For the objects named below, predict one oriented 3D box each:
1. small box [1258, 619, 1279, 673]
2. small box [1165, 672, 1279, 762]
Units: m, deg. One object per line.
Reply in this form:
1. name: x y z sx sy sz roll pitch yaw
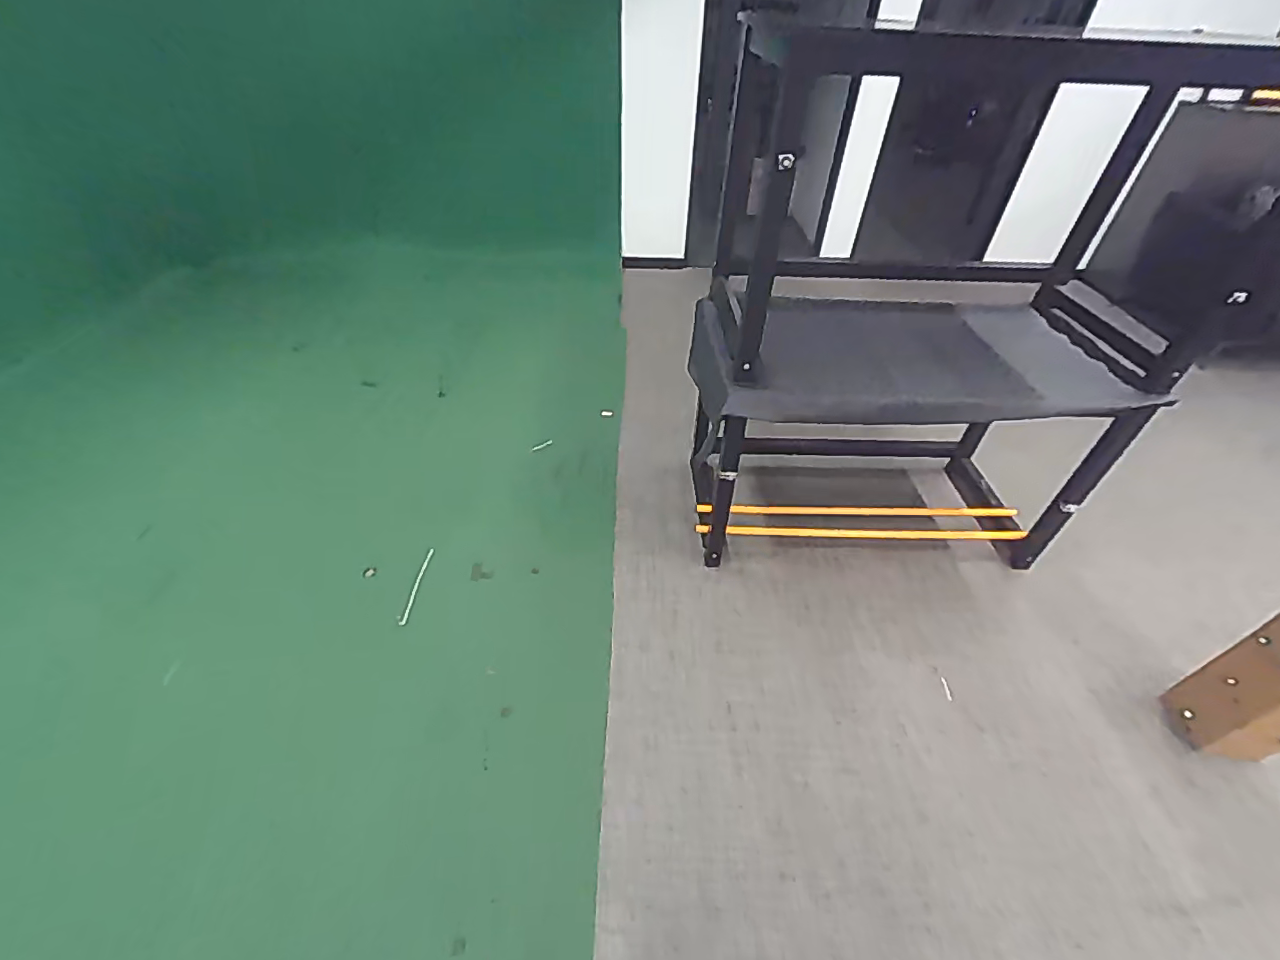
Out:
1. small box: 1.622 0.404 1.254 0.179 0.176 0.168 4 42 1
2. small box: 1.613 0.648 1.471 0.179 0.176 0.168 5 41 3
